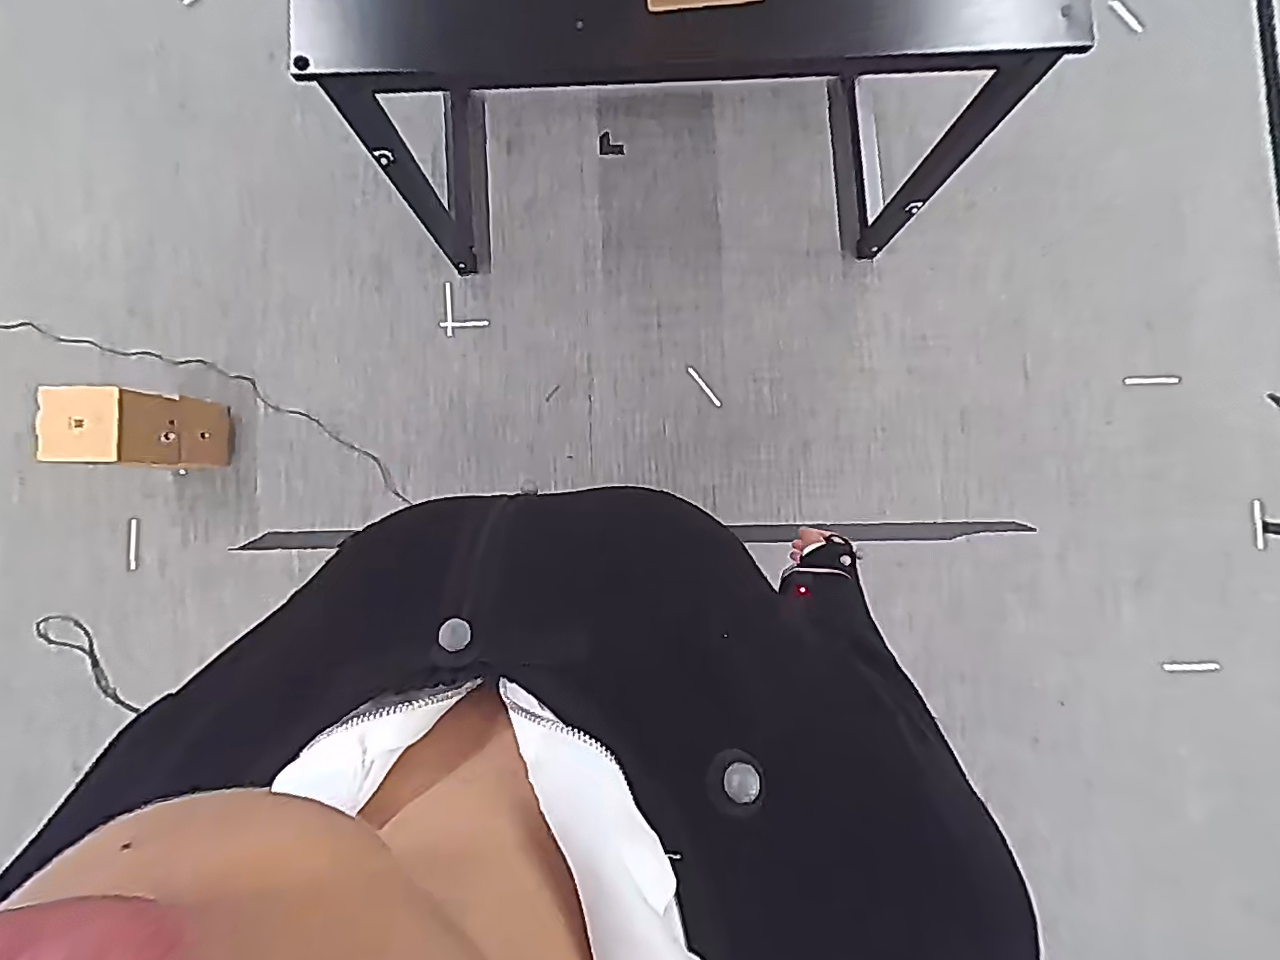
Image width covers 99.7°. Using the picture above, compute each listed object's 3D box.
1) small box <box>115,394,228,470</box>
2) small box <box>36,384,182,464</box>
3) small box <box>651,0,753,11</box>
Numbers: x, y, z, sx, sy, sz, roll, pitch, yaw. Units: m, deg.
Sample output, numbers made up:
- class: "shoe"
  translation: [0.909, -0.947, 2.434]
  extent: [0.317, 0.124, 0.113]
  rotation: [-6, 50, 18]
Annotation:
- class: "small box"
  translation: [-1.220, -0.122, 1.414]
  extent: [0.168, 0.176, 0.179]
  rotation: [-3, 88, -1]
- class: "small box"
  translation: [-1.221, -0.123, 1.252]
  extent: [0.179, 0.176, 0.168]
  rotation: [0, 89, -2]
- class: "small box"
  translation: [0.092, -0.800, 0.746]
  extent: [0.179, 0.176, 0.168]
  rotation: [-7, 86, 0]
